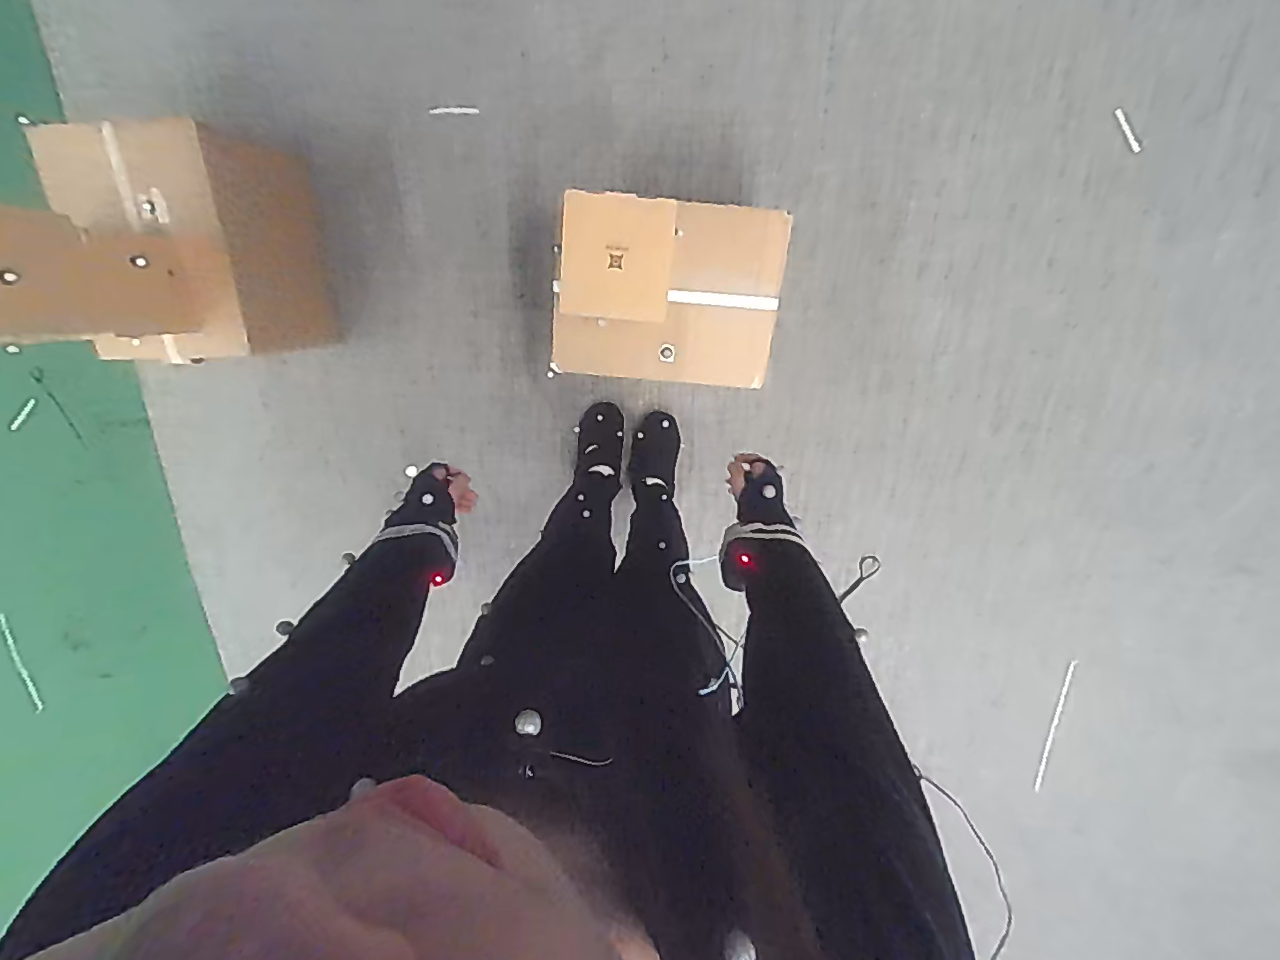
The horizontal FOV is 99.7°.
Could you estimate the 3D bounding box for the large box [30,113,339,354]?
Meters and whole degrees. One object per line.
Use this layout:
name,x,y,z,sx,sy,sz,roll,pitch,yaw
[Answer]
large box,-0.896,-0.481,1.131,0.320,0.320,0.408,0,108,2

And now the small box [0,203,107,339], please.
small box,-0.930,-0.291,0.766,0.168,0.176,0.179,-5,107,4

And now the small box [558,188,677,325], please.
small box,-0.032,-0.351,0.878,0.168,0.176,0.179,6,106,0

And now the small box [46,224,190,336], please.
small box,-0.923,-0.337,0.923,0.179,0.176,0.168,-1,108,4
